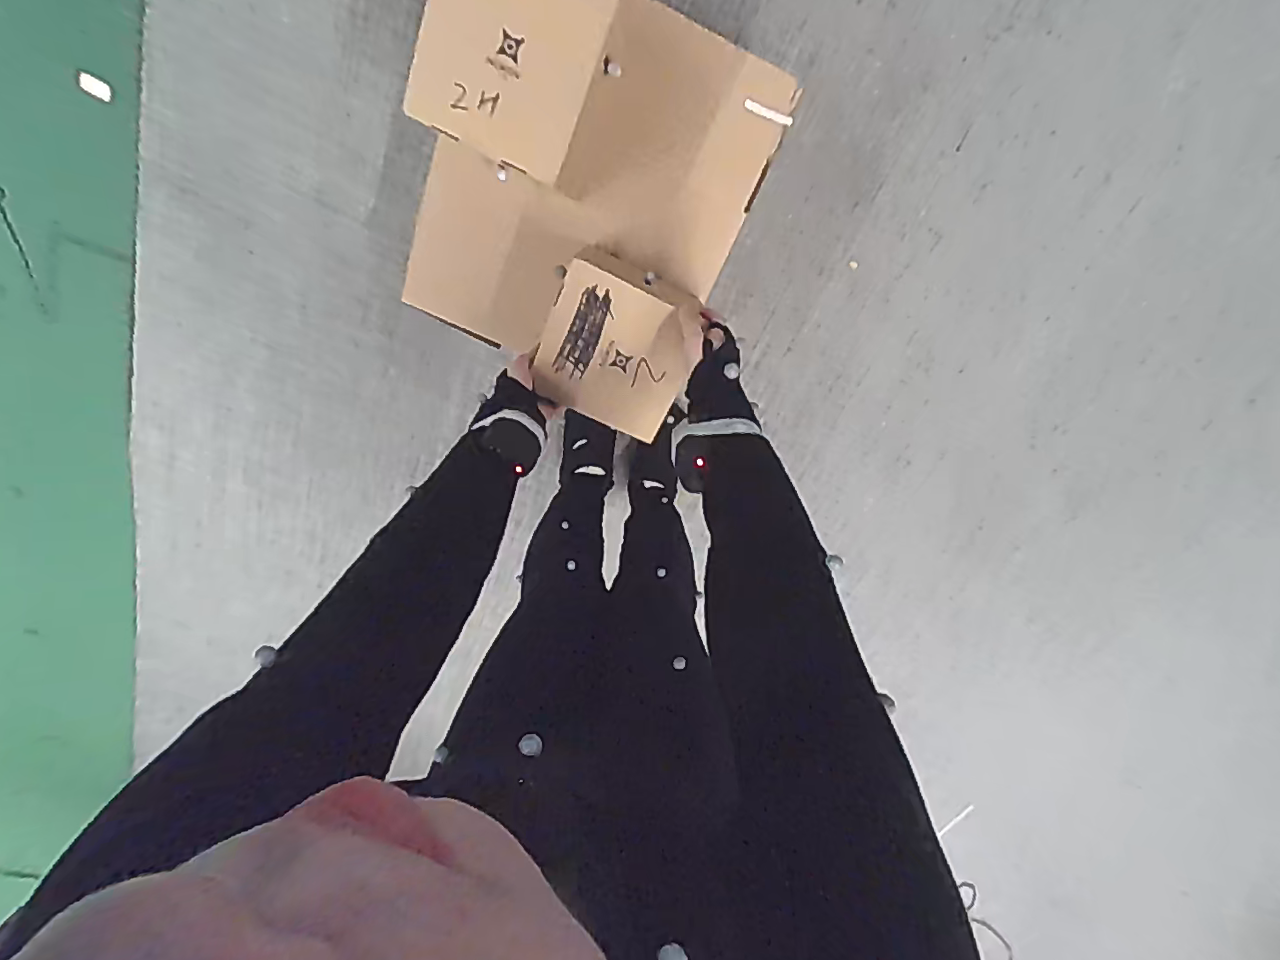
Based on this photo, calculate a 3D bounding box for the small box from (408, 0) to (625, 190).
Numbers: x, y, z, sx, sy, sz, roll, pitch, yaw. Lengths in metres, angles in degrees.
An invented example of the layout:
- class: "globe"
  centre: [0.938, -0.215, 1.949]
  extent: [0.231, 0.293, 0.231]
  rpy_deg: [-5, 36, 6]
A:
- class: "small box"
  centre: [-0.124, -0.448, 0.595]
  extent: [0.168, 0.176, 0.179]
  rpy_deg: [23, 112, -9]
